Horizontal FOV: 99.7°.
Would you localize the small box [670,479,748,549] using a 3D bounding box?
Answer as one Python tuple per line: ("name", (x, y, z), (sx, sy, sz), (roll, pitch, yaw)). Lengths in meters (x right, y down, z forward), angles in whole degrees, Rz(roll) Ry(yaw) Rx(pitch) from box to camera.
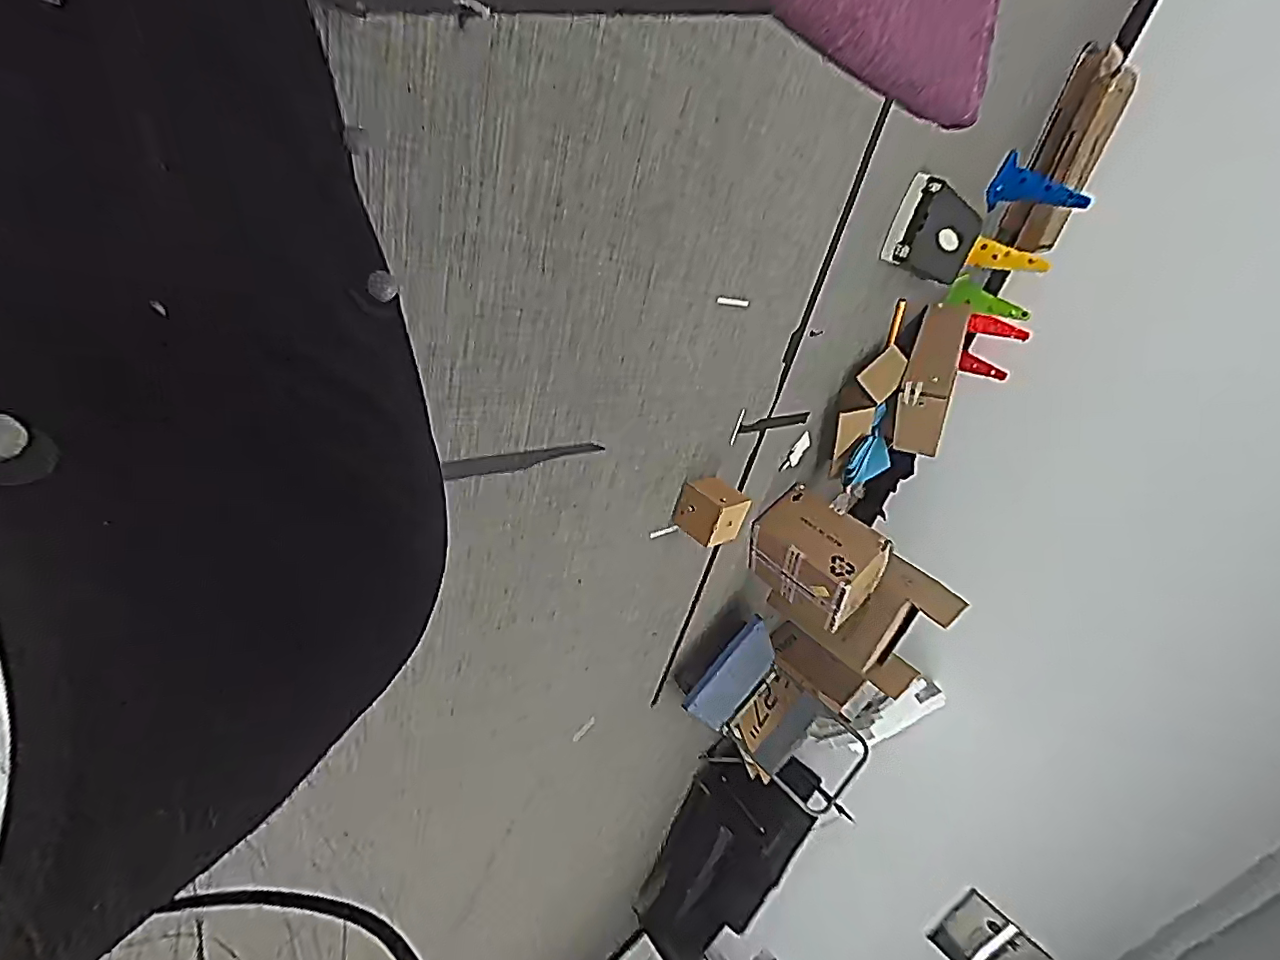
("small box", (0.237, 0.110, 1.882), (0.179, 0.176, 0.168), (-13, 129, -45))
